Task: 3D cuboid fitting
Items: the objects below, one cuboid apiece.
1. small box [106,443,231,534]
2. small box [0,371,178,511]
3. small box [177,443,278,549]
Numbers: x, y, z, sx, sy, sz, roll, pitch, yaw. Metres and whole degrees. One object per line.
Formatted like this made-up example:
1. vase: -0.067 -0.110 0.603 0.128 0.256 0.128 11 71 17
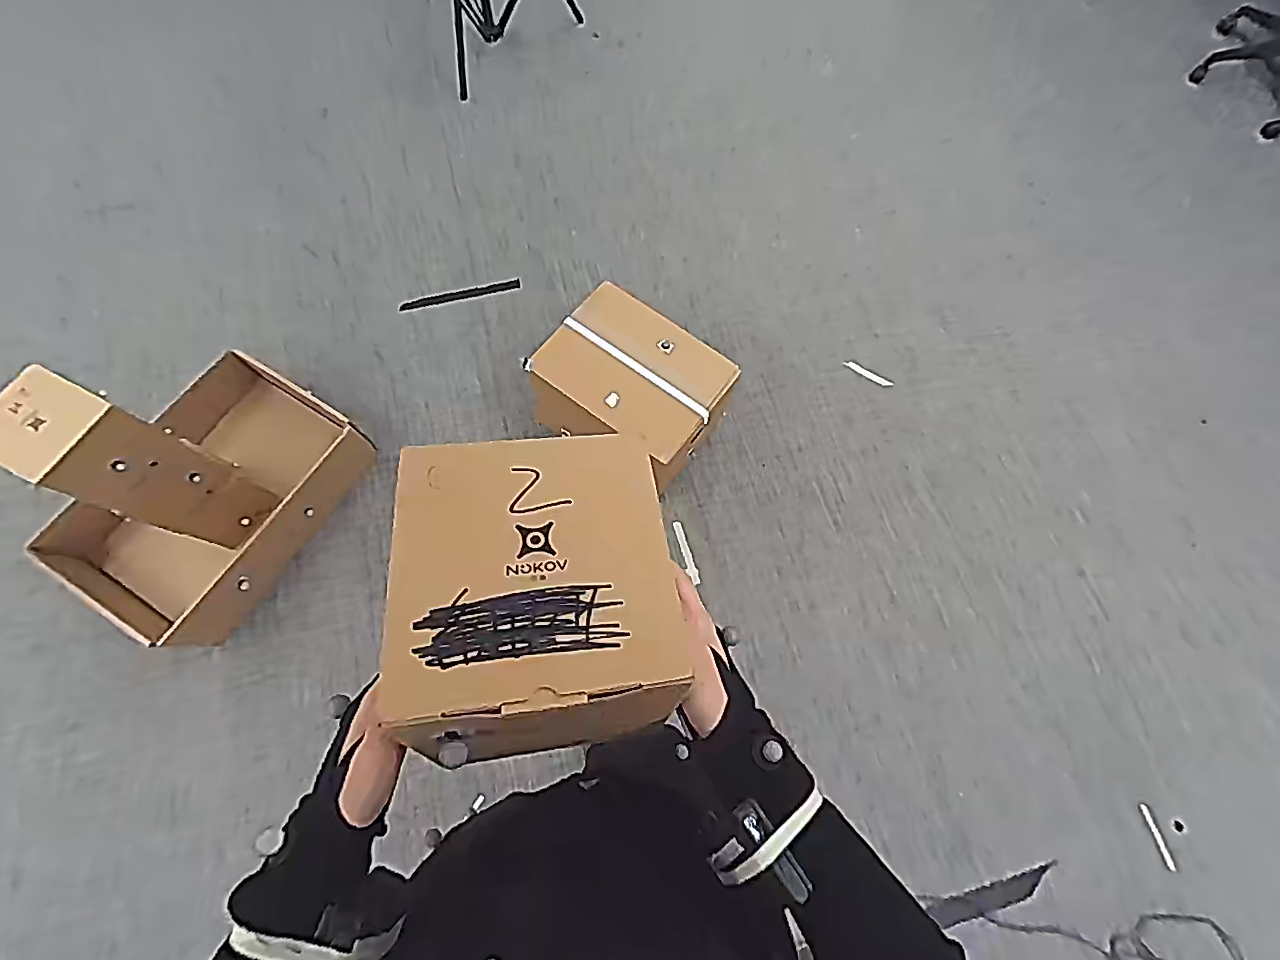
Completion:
1. small box: -1.022 -0.002 1.131 0.179 0.176 0.168 26 71 7
2. small box: -1.009 -0.059 0.976 0.179 0.176 0.168 26 70 5
3. small box: -1.025 0.047 1.286 0.179 0.176 0.168 31 72 7
